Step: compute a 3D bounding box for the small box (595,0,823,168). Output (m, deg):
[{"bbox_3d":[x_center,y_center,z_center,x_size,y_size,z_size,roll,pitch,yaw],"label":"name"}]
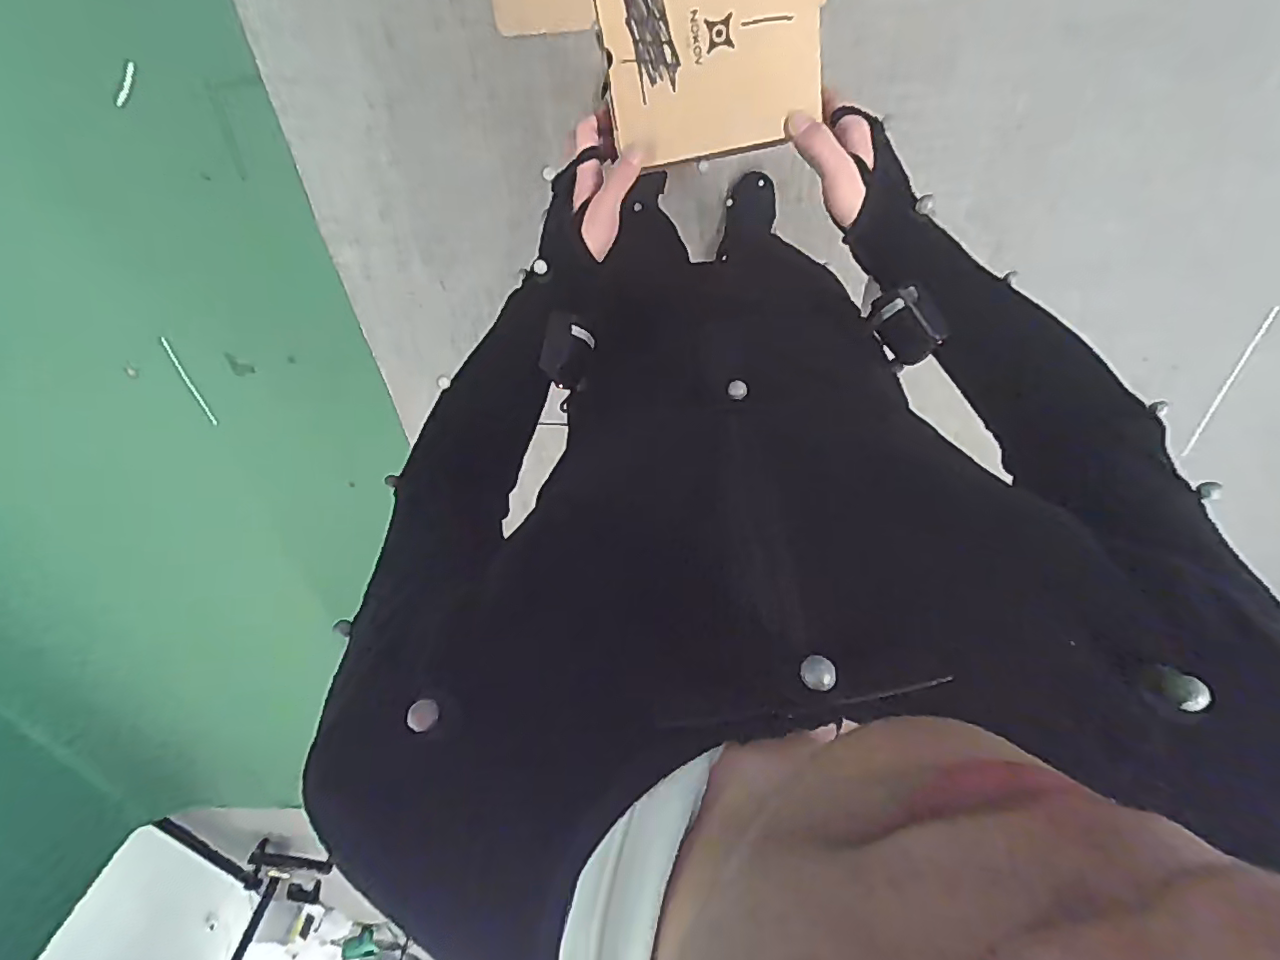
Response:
[{"bbox_3d":[0.060,-0.397,0.499,0.179,0.176,0.168,-7,118,7],"label":"small box"}]
